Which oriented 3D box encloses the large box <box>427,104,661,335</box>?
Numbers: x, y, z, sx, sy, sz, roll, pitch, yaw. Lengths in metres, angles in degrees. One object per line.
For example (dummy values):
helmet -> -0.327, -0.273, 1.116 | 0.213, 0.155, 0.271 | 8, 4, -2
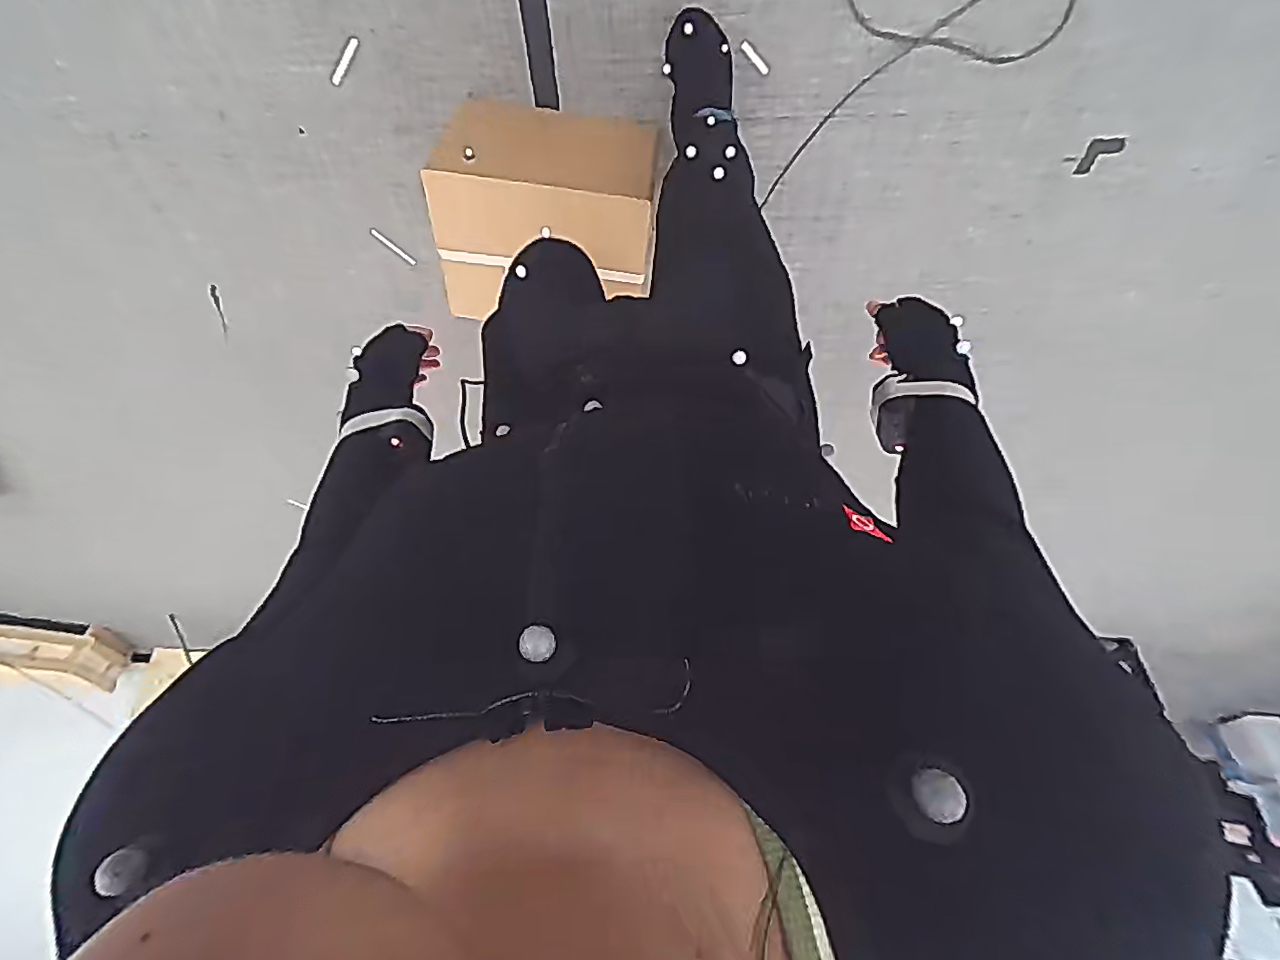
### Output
large box -> -0.177, -0.546, 1.144 | 0.408, 0.320, 0.320 | 6, 145, -3
